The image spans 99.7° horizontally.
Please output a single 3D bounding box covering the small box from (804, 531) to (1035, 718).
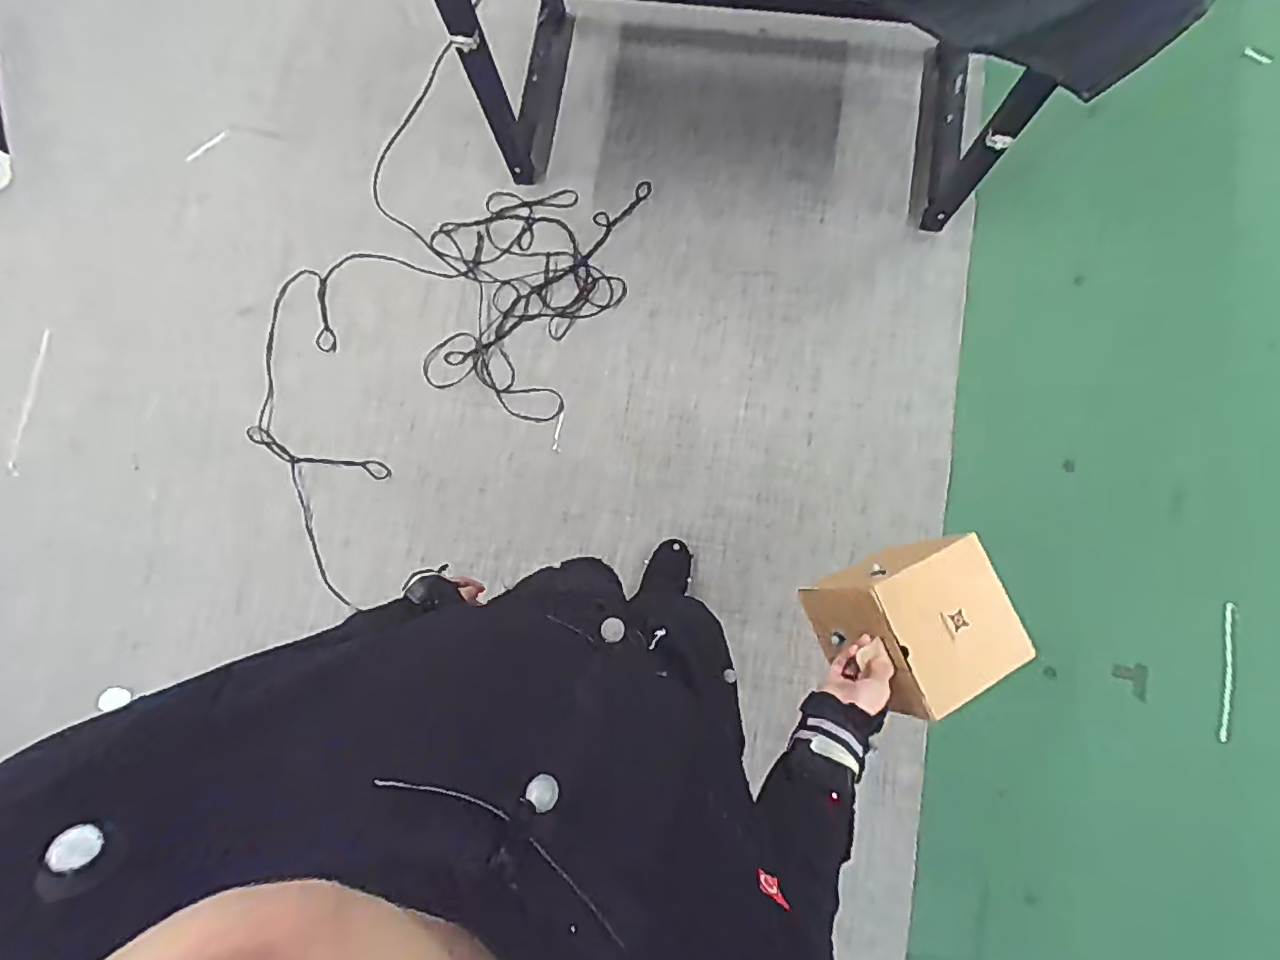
[{"bbox_3d":[0.354,0.181,0.714,0.179,0.176,0.168,-22,83,-17],"label":"small box"}]

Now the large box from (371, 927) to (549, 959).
[{"bbox_3d":[-0.420,1.215,1.106,0.408,0.320,0.320,8,82,6],"label":"large box"}]
